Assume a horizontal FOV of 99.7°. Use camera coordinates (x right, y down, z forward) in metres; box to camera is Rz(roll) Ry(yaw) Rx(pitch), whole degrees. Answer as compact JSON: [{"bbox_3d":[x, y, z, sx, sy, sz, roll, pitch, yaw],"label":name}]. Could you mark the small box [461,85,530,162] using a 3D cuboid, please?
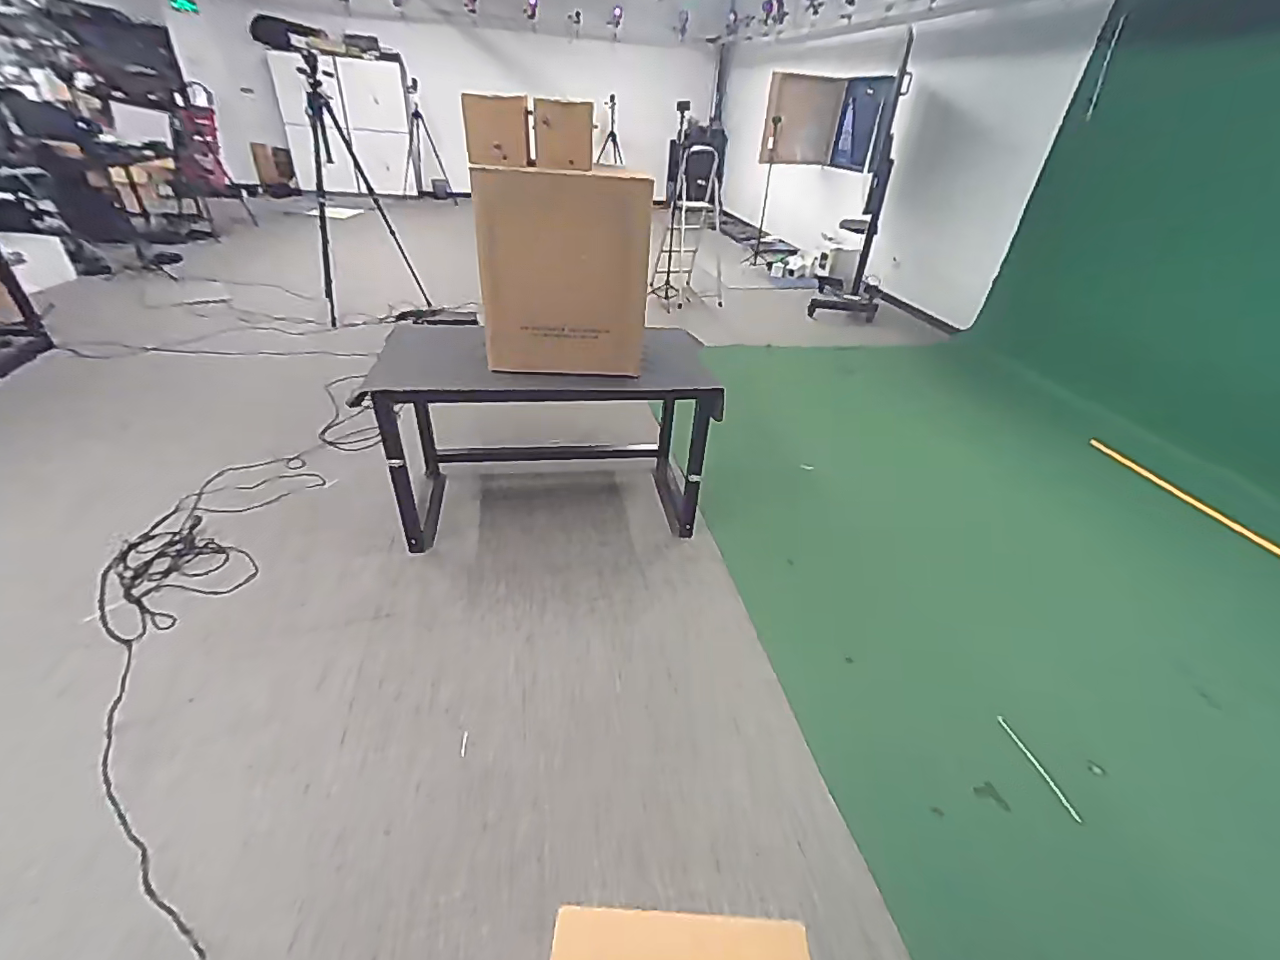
[{"bbox_3d":[-0.410,-1.030,1.561,0.168,0.176,0.179,-1,37,-5],"label":"small box"}]
